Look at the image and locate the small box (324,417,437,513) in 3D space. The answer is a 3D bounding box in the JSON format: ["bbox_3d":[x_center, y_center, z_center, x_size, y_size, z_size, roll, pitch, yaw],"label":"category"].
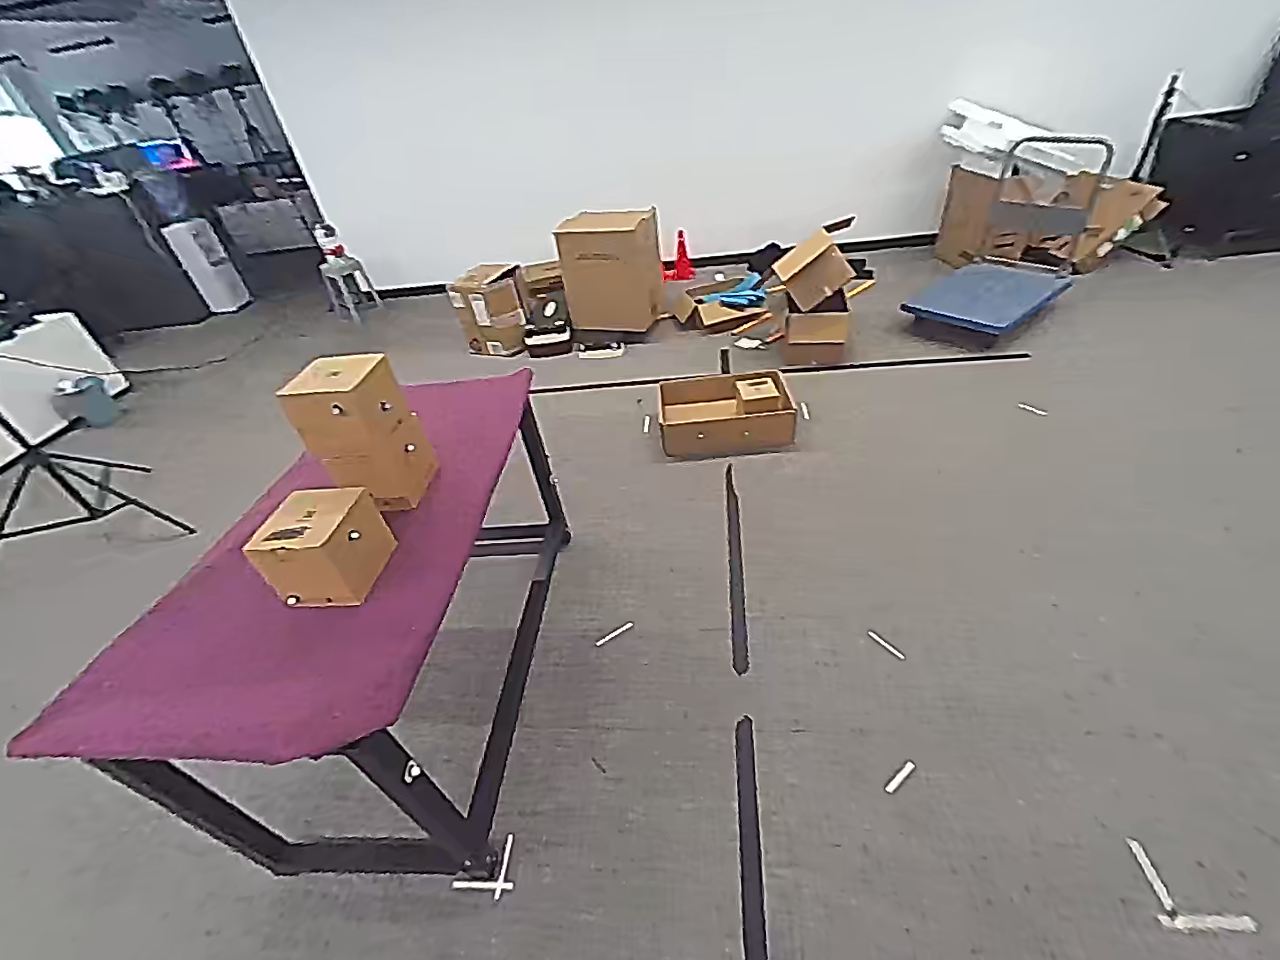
[{"bbox_3d":[-0.624,-0.036,1.330,0.168,0.176,0.179,-3,39,8],"label":"small box"}]

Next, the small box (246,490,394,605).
[{"bbox_3d":[-0.637,0.141,1.106,0.168,0.176,0.179,-3,38,8],"label":"small box"}]

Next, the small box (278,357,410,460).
[{"bbox_3d":[-0.654,-0.159,1.223,0.179,0.176,0.168,-3,39,8],"label":"small box"}]
